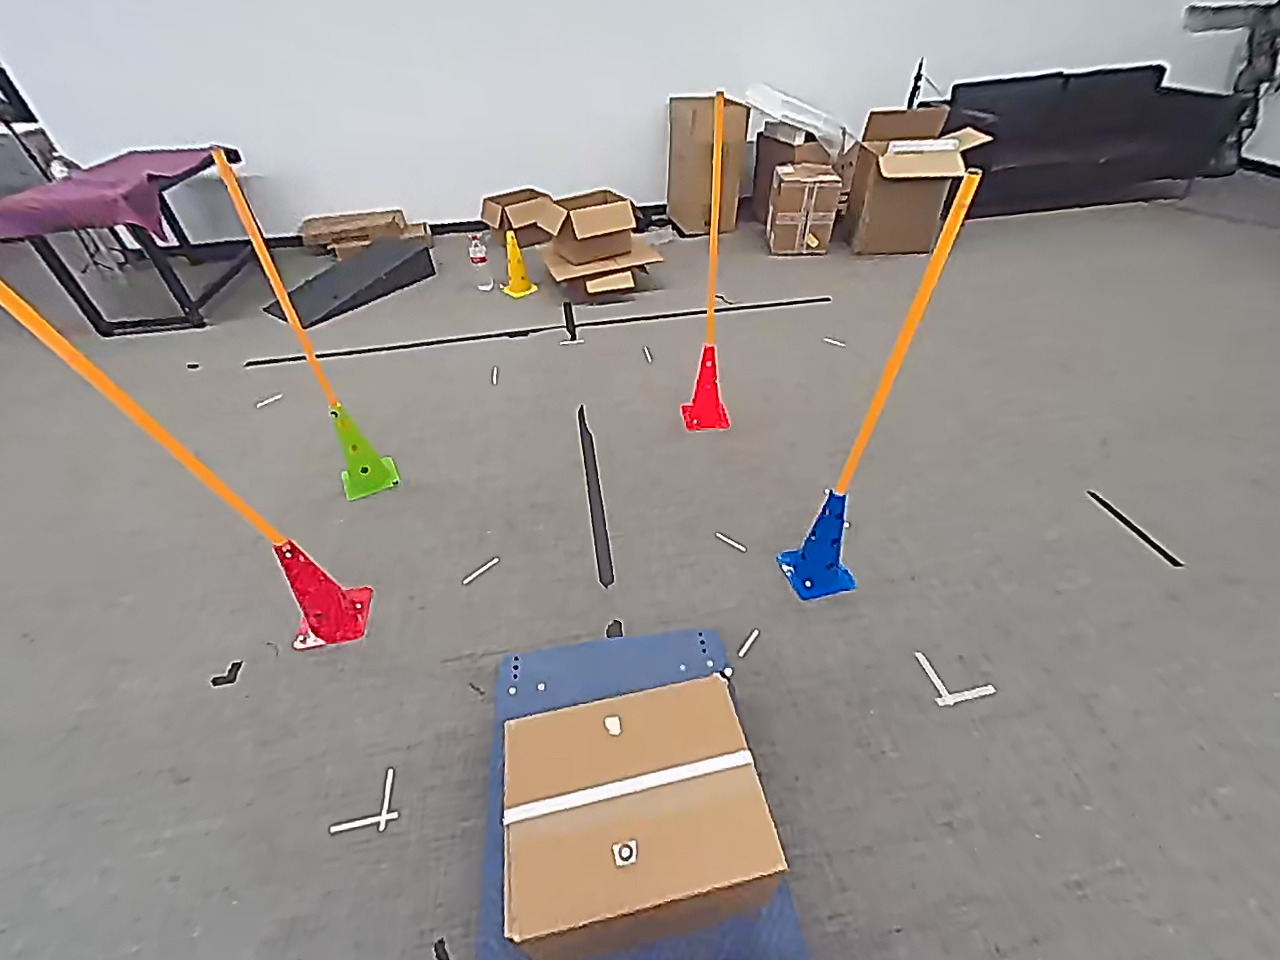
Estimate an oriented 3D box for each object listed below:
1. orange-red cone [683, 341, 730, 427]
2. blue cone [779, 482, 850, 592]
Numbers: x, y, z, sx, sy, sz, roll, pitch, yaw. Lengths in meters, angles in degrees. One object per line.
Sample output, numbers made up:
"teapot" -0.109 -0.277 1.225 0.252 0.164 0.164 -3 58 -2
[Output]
"orange-red cone" 0.293 -0.426 2.312 0.199 0.360 0.198 -3 43 -2
"blue cone" 0.573 0.163 1.676 0.193 0.380 0.192 -10 42 -9
